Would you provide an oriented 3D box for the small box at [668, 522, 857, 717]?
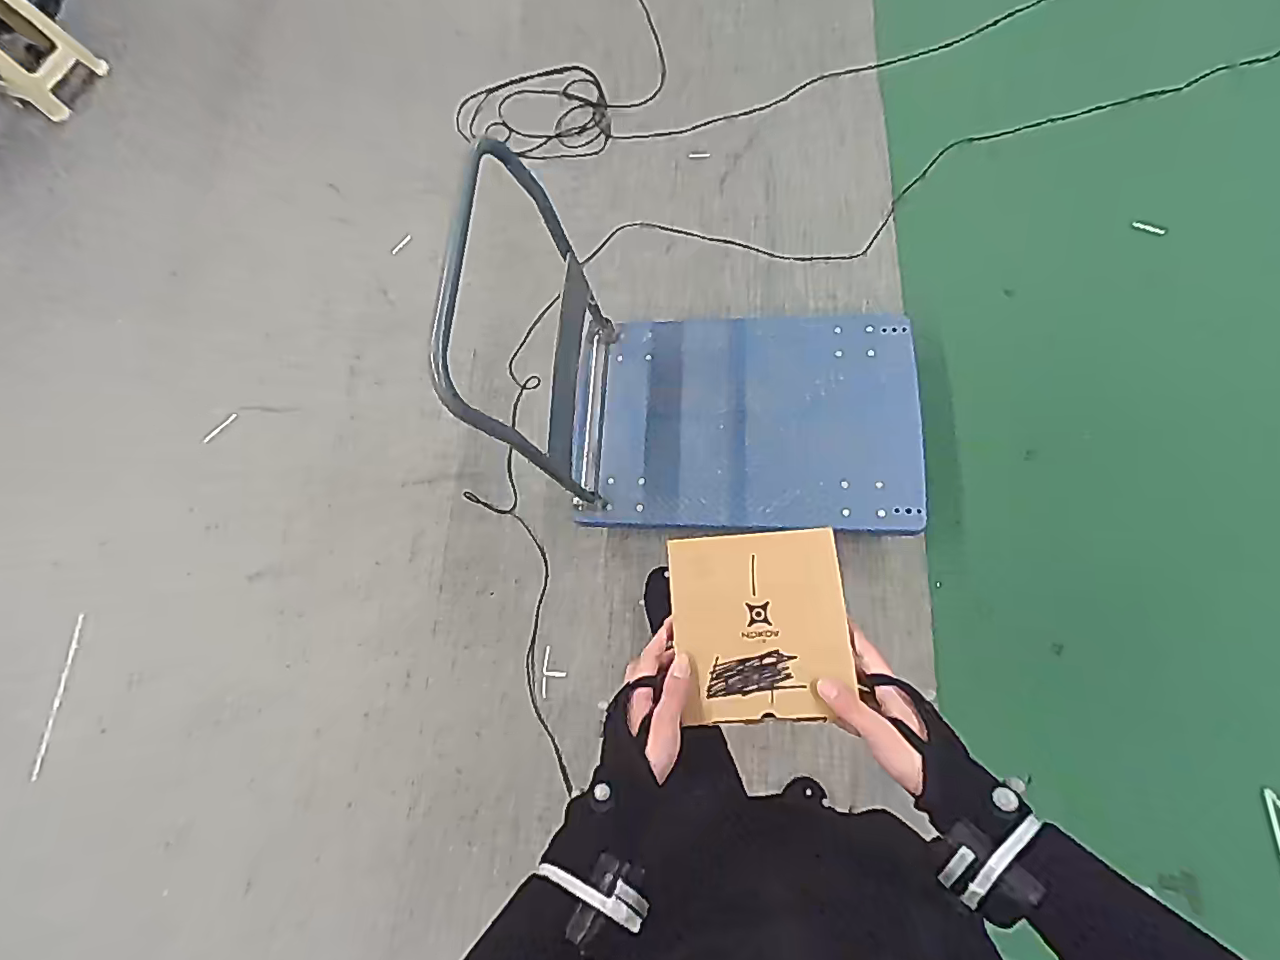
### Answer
[{"bbox_3d":[0.124,0.152,0.592,0.168,0.176,0.179,-5,72,7],"label":"small box"}]
